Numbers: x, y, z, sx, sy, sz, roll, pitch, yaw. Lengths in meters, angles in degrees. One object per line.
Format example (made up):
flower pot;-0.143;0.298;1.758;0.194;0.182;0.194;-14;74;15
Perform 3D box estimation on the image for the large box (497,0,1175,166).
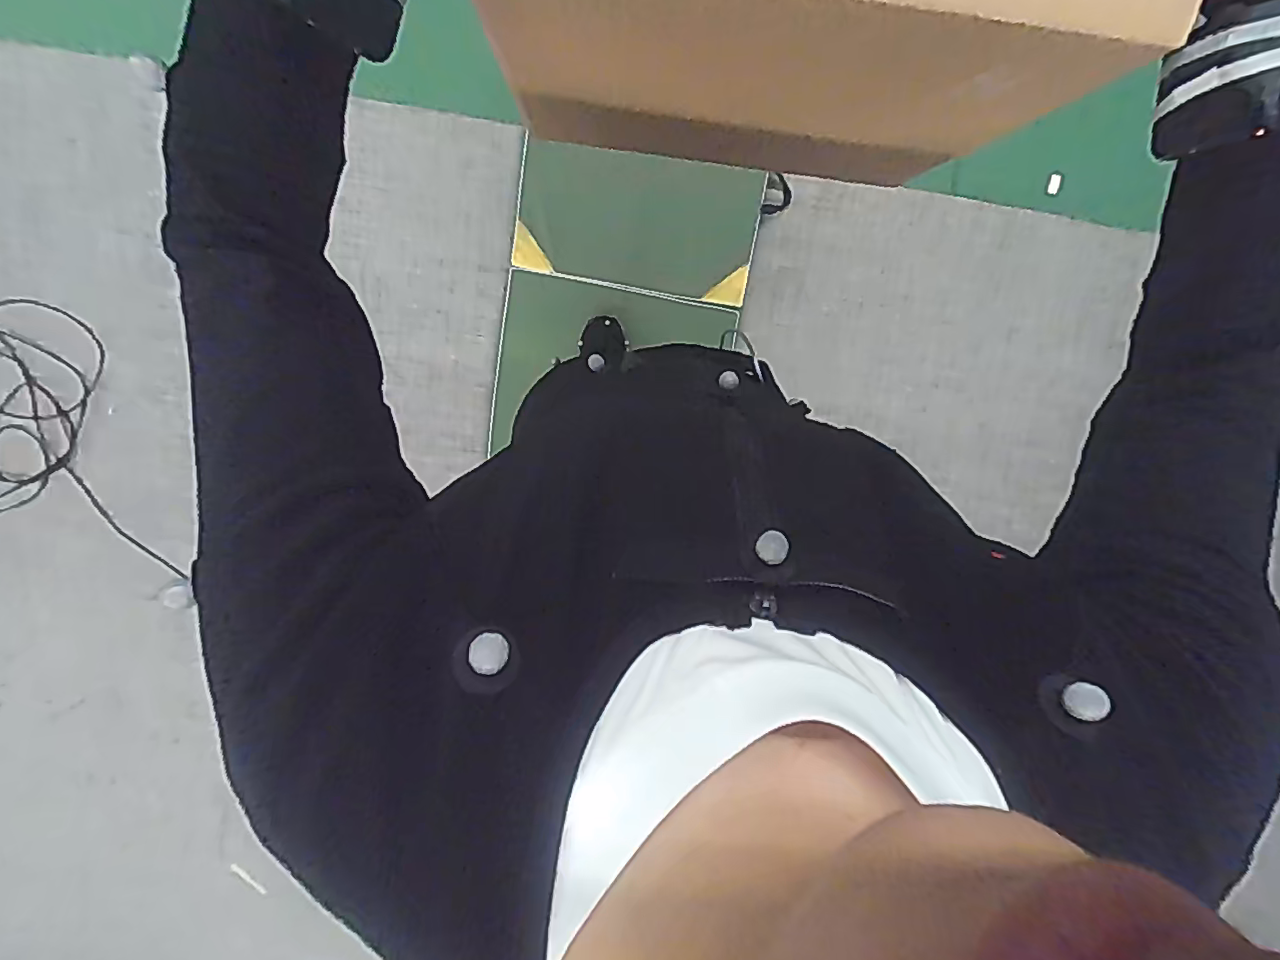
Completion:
large box;0.107;-0.460;0.394;0.408;0.320;0.320;4;106;-6
